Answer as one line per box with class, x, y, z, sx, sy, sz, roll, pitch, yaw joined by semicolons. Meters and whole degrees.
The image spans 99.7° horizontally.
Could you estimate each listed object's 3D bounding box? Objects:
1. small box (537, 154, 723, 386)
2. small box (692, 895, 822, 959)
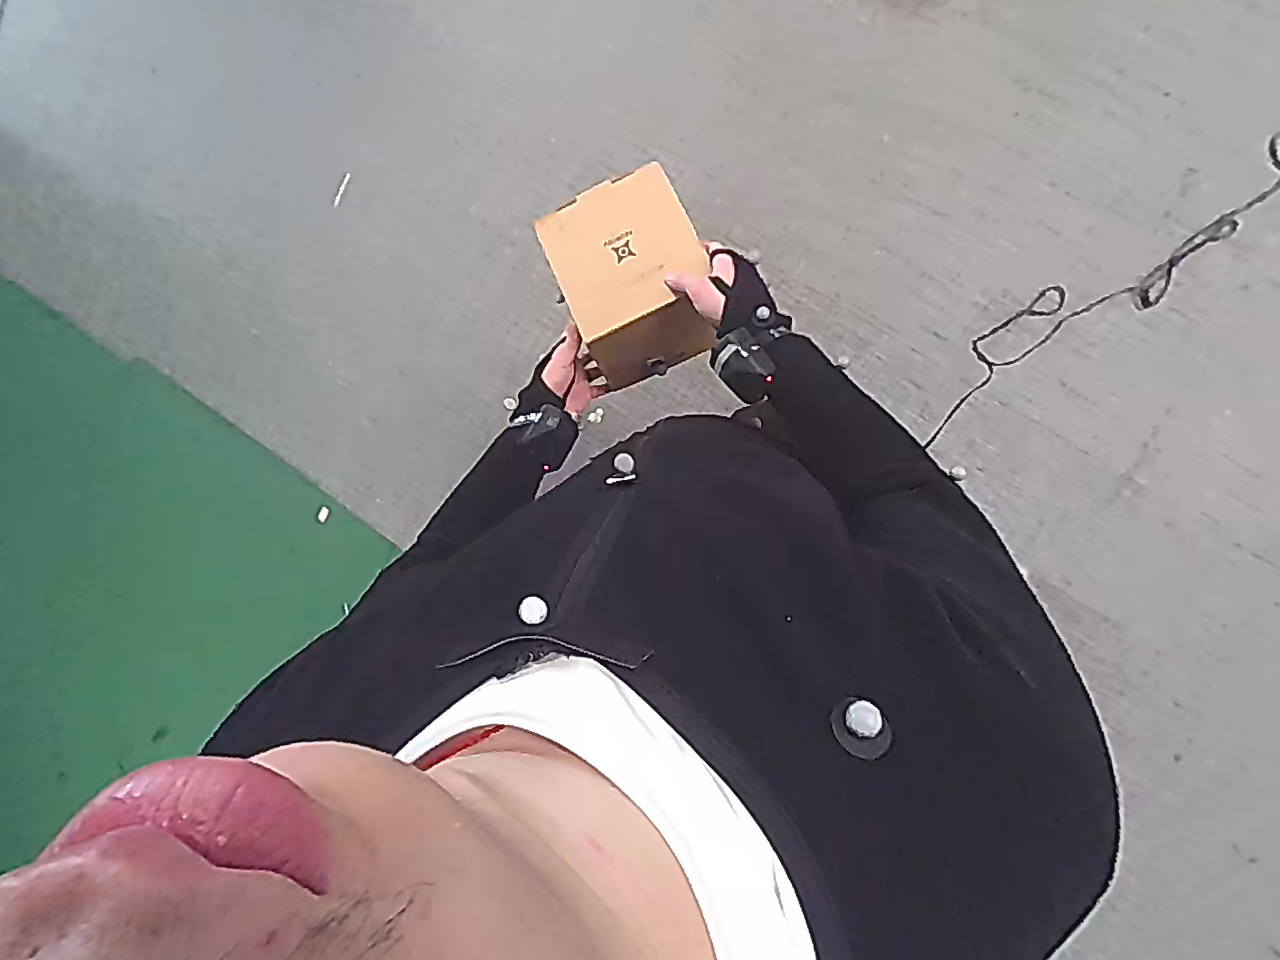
small box;-0.004;-0.246;0.672;0.168;0.176;0.179;-23;76;6
small box;0.180;0.794;0.819;0.168;0.176;0.179;37;103;4
